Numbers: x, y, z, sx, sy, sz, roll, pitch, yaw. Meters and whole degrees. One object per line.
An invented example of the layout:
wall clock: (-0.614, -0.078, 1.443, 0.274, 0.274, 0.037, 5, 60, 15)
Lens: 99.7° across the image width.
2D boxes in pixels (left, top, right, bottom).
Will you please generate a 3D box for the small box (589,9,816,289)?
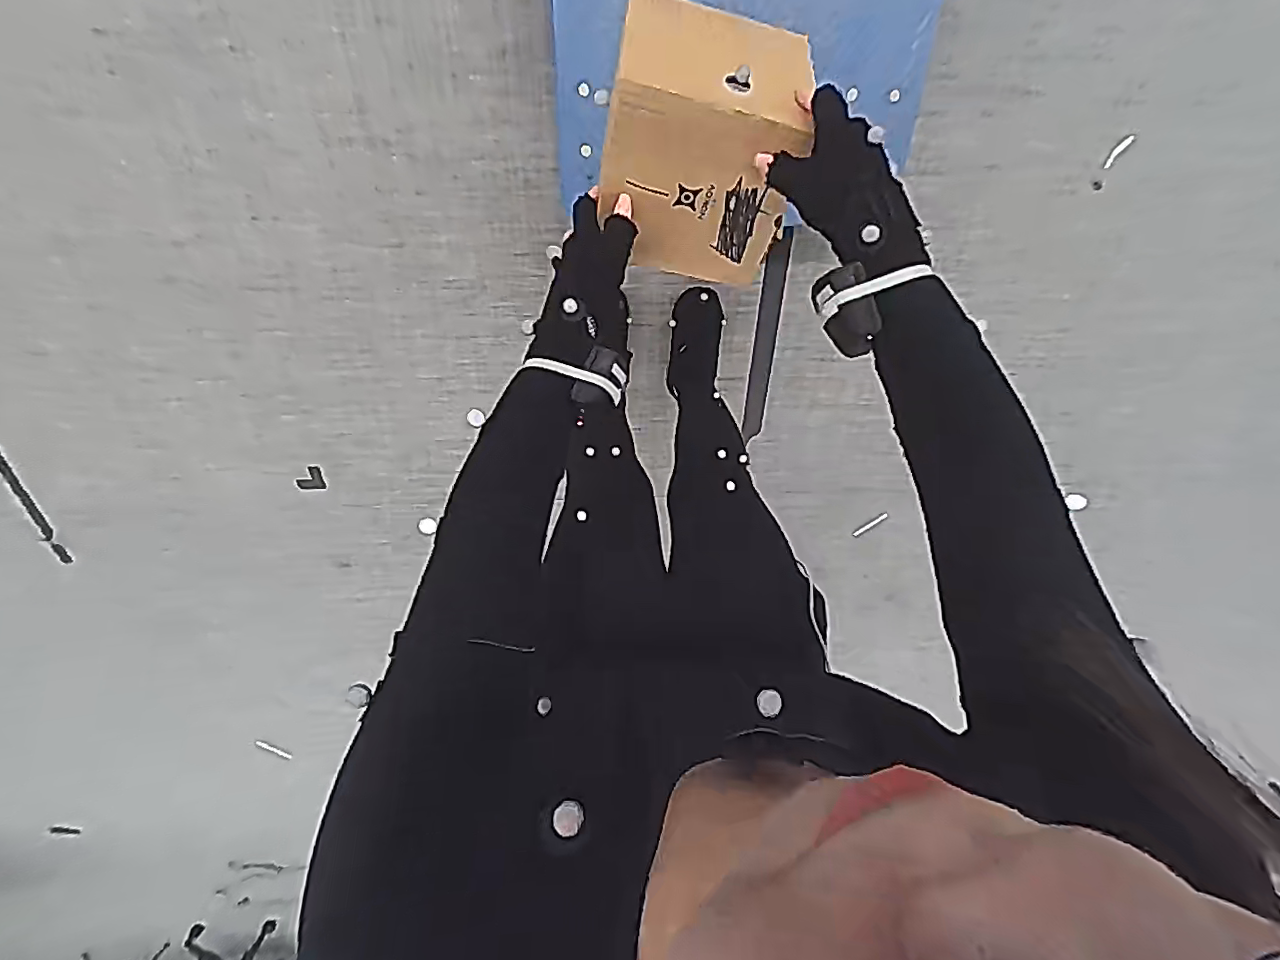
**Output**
small box: (0.052, -0.328, 0.548, 0.179, 0.176, 0.168, 8, 150, -10)
